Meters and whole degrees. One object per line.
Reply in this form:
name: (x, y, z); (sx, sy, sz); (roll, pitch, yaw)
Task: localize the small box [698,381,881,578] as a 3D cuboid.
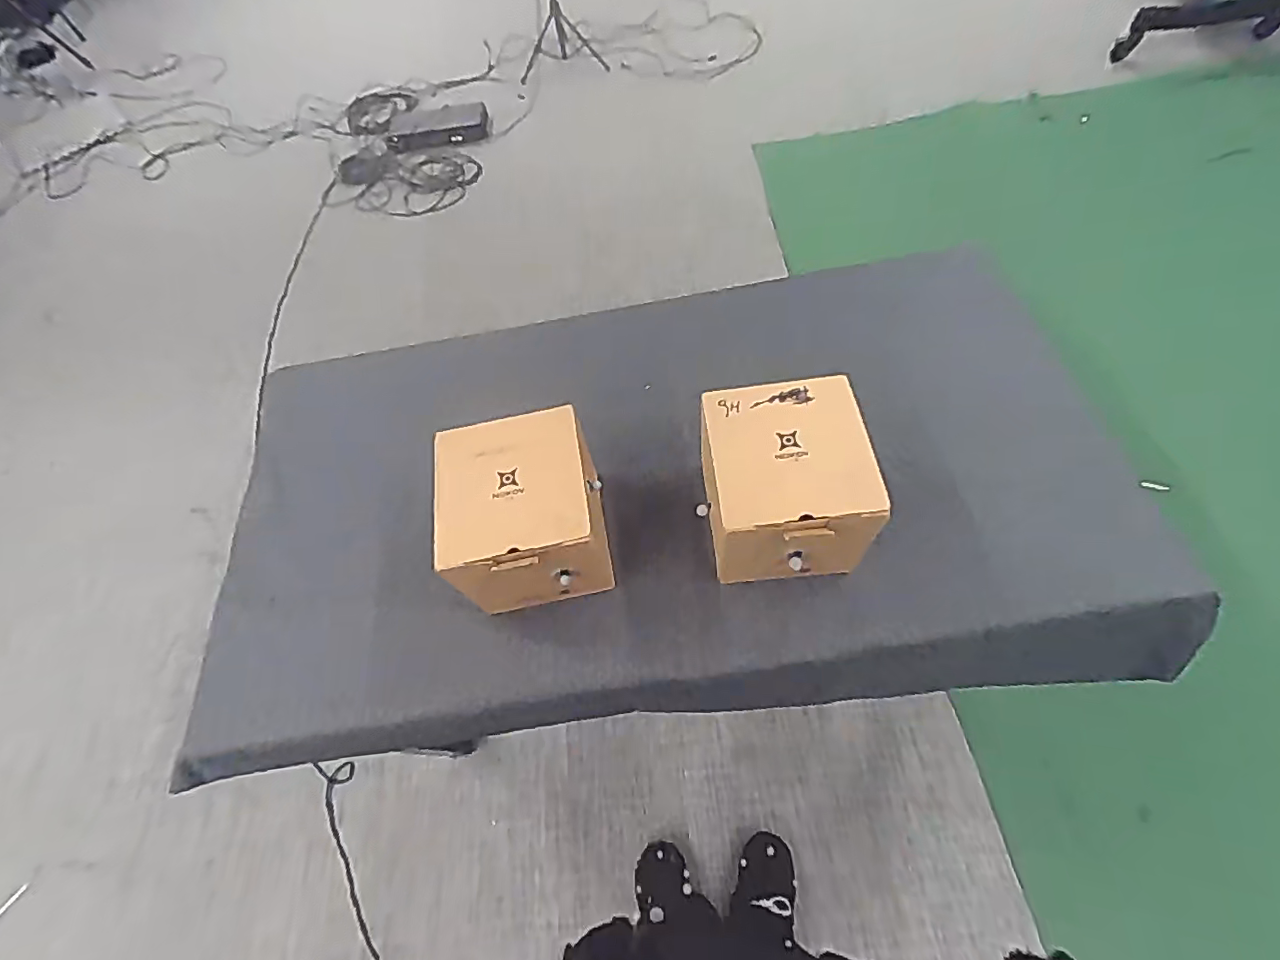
small box: (0.164, 0.010, 0.648); (0.168, 0.176, 0.179); (-7, 61, 4)

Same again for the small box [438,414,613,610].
small box: (-0.135, 0.050, 0.670); (0.168, 0.176, 0.179); (-13, 59, -1)
